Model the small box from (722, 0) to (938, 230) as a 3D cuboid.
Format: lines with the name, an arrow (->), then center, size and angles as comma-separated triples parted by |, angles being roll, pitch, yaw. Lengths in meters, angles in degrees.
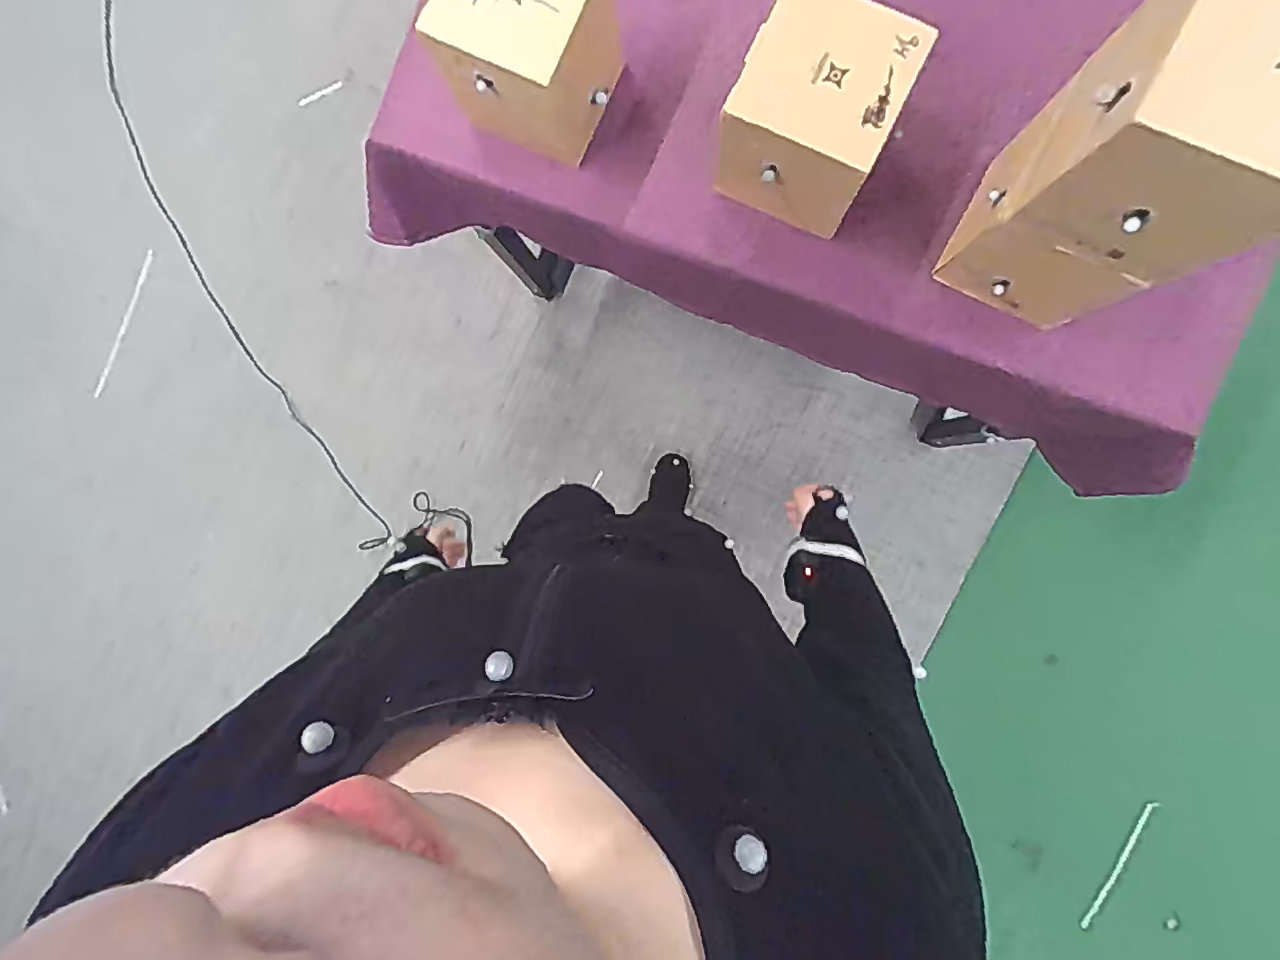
small box -> 0.210, -0.439, 0.659 | 0.179, 0.176, 0.168 | 27, 93, 6

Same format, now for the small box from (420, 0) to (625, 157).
small box -> -0.135, -0.556, 0.690 | 0.179, 0.176, 0.168 | 26, 93, 4

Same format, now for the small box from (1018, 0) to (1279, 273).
small box -> 0.479, -0.311, 0.470 | 0.168, 0.176, 0.179 | 26, 93, 4

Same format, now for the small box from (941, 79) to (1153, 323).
small box -> 0.494, -0.314, 0.634 | 0.168, 0.176, 0.179 | 28, 94, 5
